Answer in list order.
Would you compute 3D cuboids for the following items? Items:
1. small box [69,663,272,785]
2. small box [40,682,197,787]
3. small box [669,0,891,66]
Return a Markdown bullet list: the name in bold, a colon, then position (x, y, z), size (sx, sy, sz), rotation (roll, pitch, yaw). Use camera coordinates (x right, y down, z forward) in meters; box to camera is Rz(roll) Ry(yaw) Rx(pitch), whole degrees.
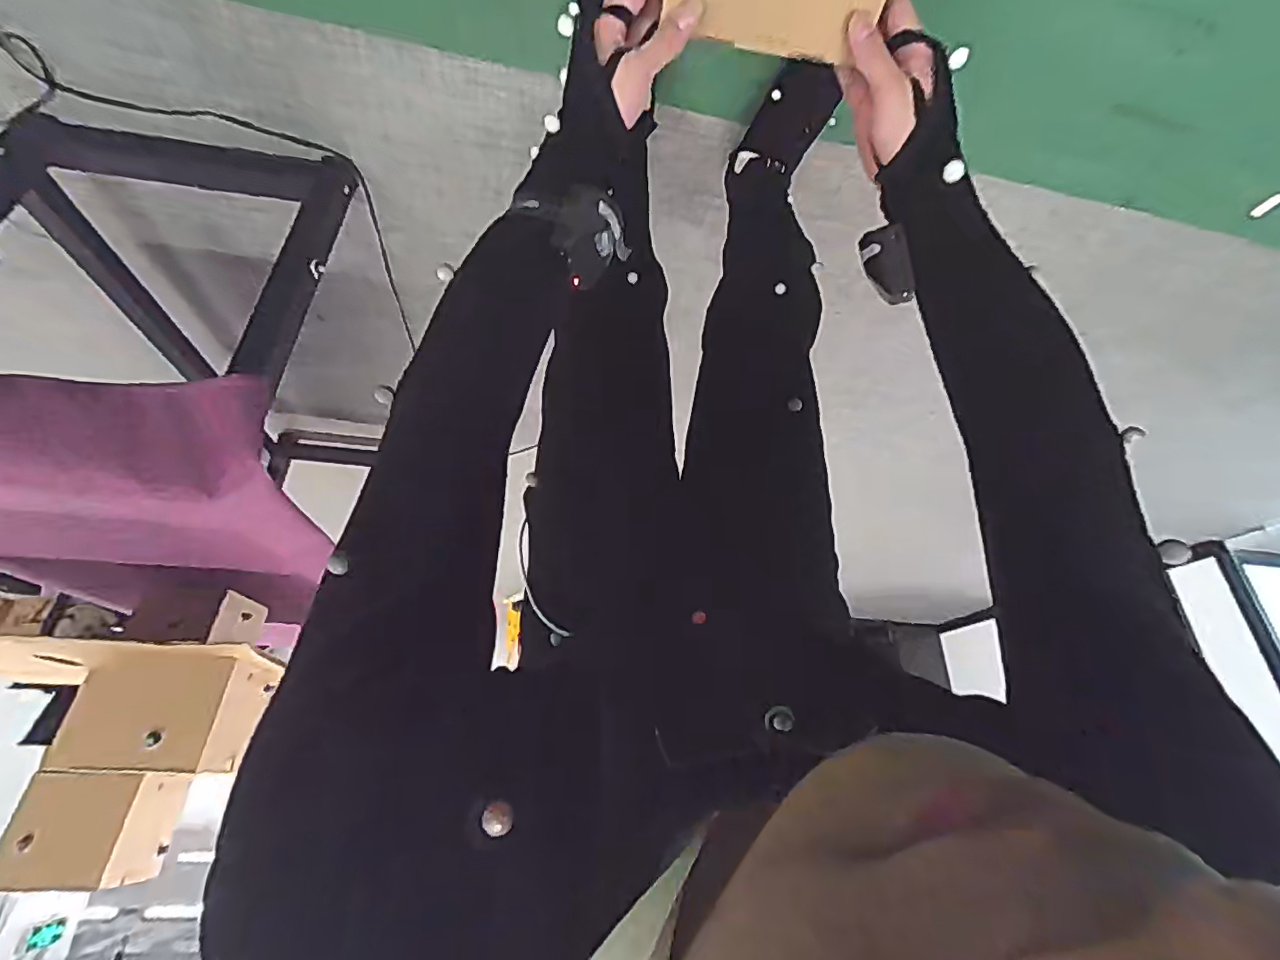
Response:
- **small box**: position (-0.740, 0.400, 0.885), size (0.179, 0.176, 0.168), rotation (5, 150, -7)
- **small box**: position (-0.949, 0.488, 1.037), size (0.179, 0.176, 0.168), rotation (5, 149, -8)
- **small box**: position (0.116, -0.458, 0.409), size (0.168, 0.176, 0.179), rotation (7, 144, -3)
